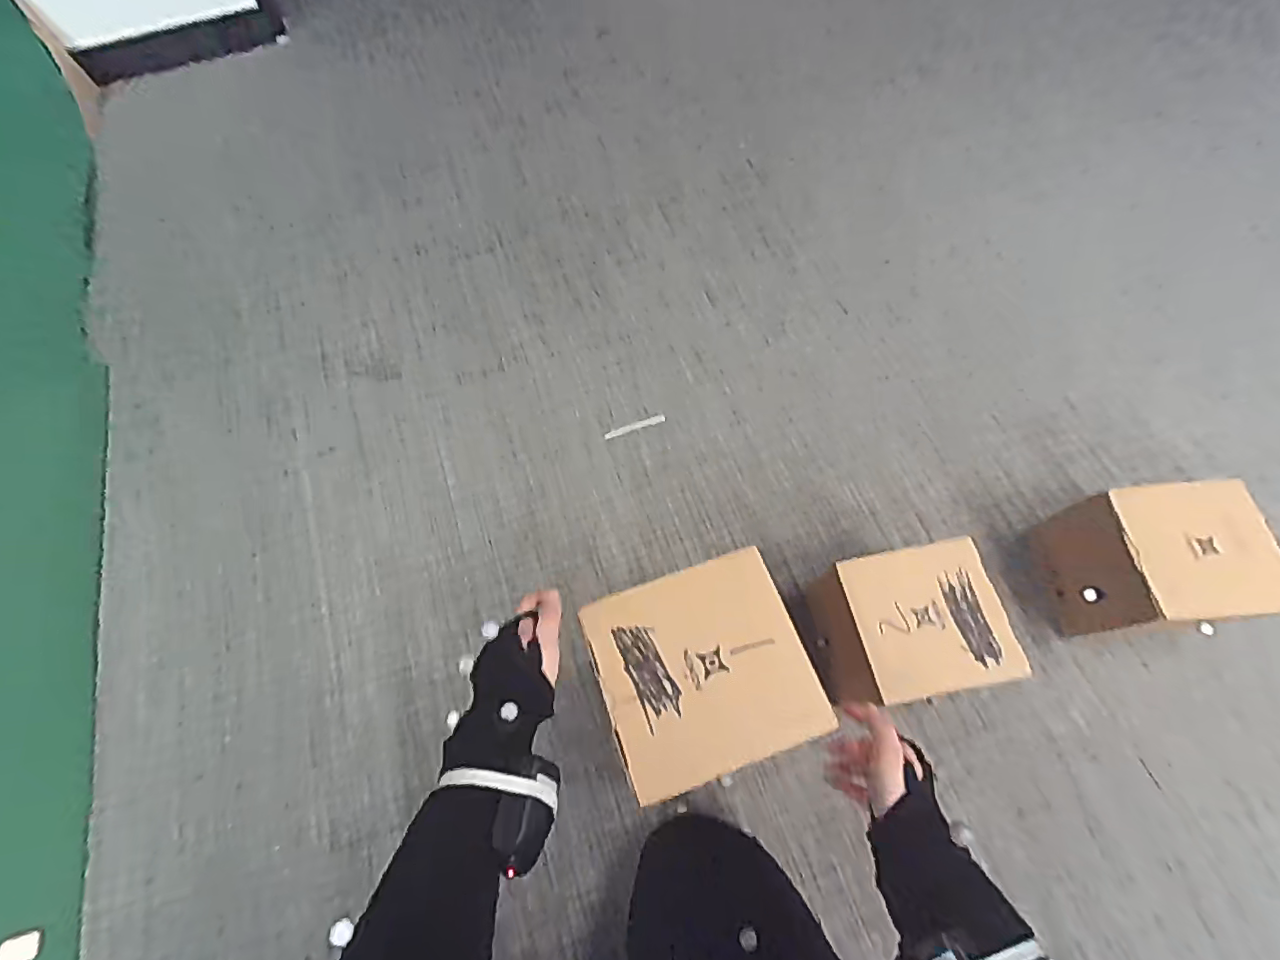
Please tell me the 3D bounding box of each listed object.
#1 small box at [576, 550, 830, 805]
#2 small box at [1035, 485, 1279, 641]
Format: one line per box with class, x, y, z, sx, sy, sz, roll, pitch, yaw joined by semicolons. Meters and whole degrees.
small box;0.052;0.193;0.532;0.179;0.176;0.168;-18;66;-7
small box;0.675;0.118;0.722;0.179;0.176;0.168;-4;66;0
